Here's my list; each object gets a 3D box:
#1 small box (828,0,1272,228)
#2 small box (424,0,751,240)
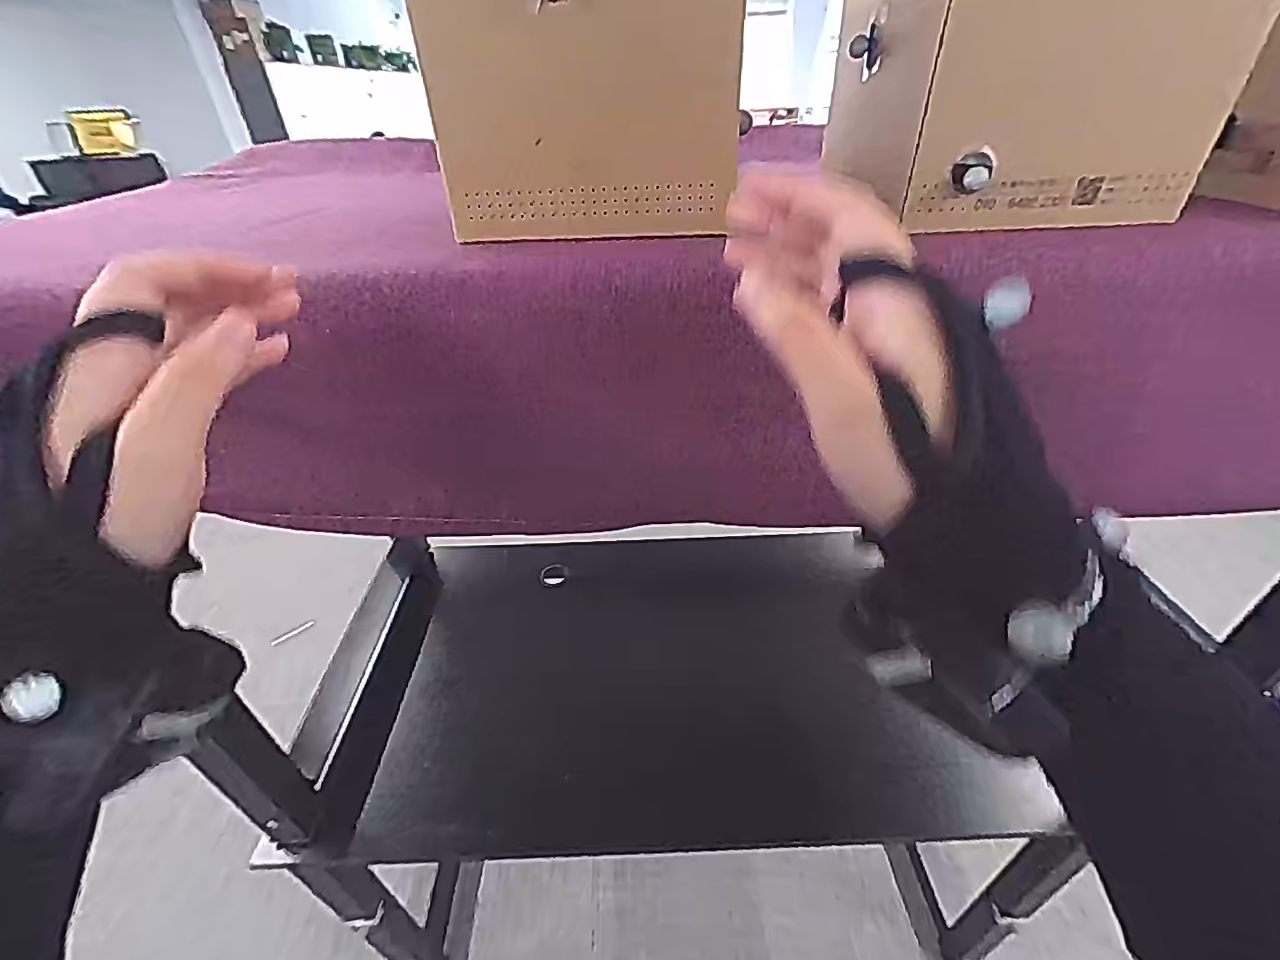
[{"bbox_3d":[0.233,-0.261,0.339,0.168,0.176,0.179,-2,35,0],"label":"small box"},{"bbox_3d":[-0.025,-0.259,0.348,0.179,0.176,0.168,0,36,3],"label":"small box"}]
